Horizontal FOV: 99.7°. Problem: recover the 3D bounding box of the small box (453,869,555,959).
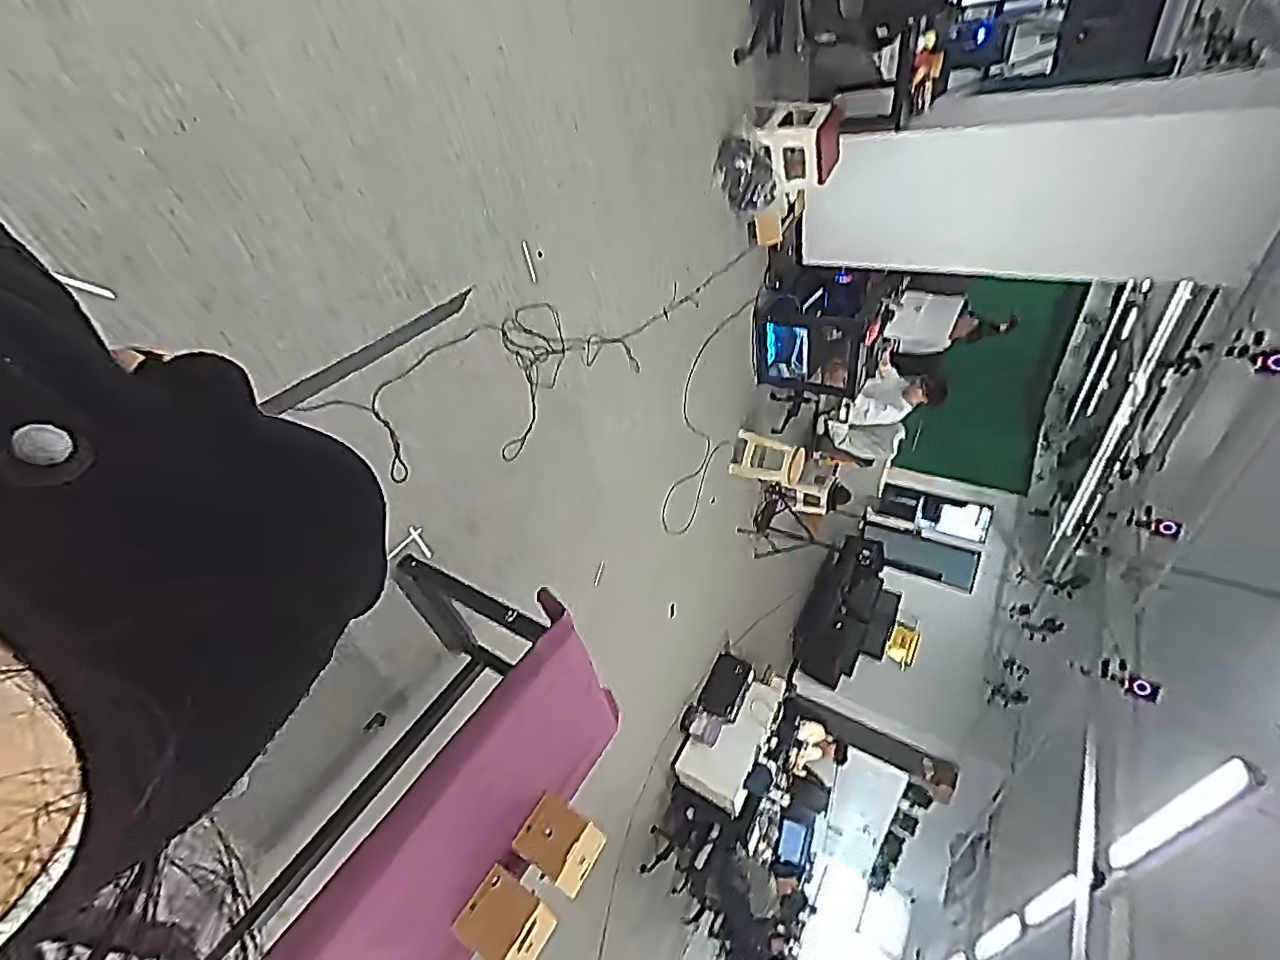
[{"bbox_3d":[-0.352,1.157,1.402,0.168,0.176,0.179,-46,140,-38],"label":"small box"}]
